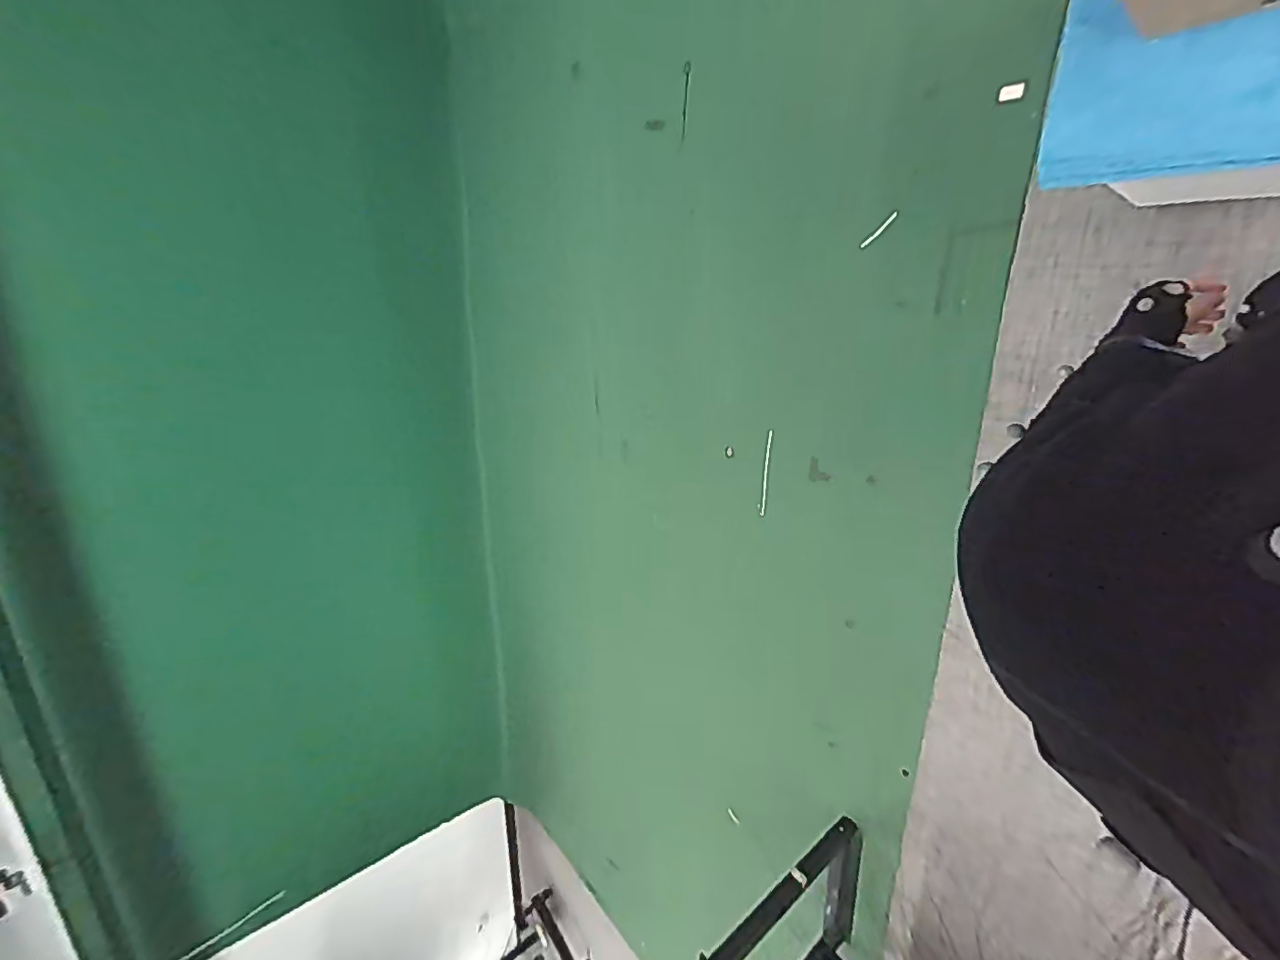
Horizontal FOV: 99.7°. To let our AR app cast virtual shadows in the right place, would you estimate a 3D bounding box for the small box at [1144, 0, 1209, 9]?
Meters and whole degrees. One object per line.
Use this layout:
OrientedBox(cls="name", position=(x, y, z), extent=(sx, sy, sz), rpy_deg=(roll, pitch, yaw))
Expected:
OrientedBox(cls="small box", position=(0.580, -0.573, 0.490), extent=(0.168, 0.176, 0.179), rpy_deg=(22, 117, 46))
